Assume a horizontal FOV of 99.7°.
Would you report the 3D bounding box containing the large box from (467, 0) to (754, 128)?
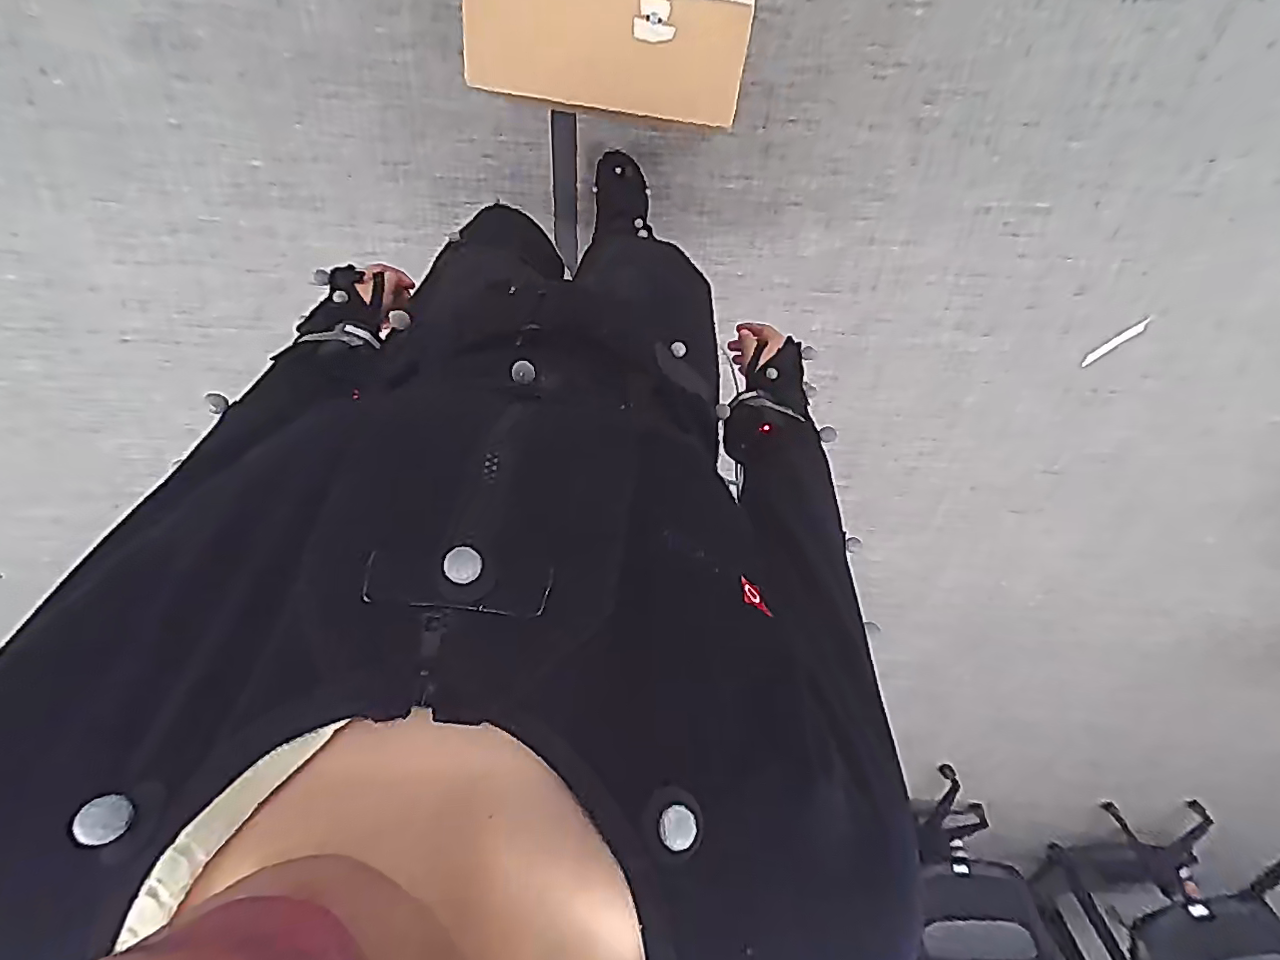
[{"bbox_3d":[-0.041,-0.769,0.858,0.408,0.320,0.320,6,122,-5],"label":"large box"}]
